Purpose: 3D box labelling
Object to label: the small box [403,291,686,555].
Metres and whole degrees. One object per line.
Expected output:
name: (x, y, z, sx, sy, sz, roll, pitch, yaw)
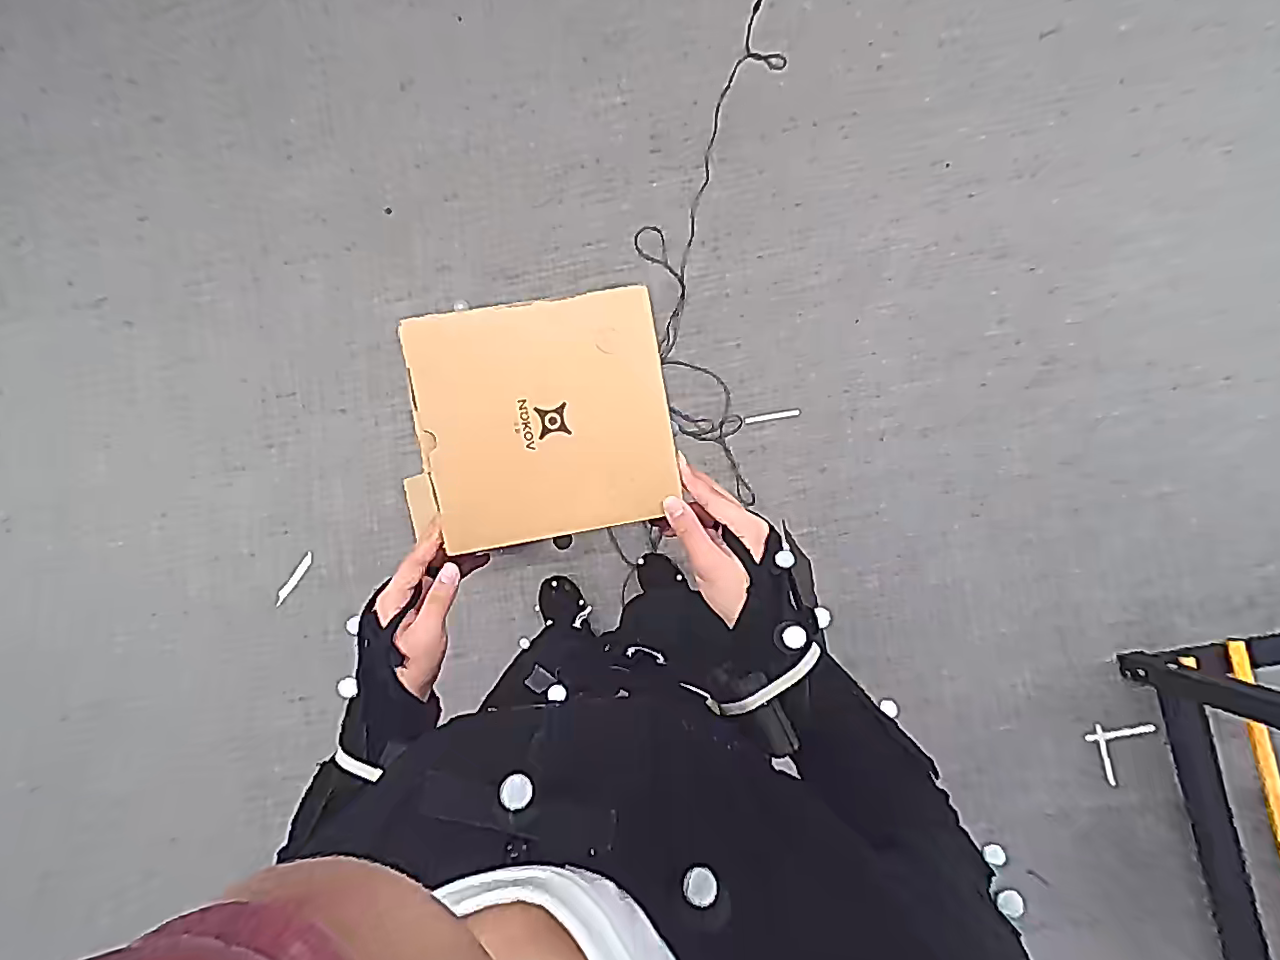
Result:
small box: (-0.070, -0.048, 0.459, 0.179, 0.176, 0.168, -10, 96, -3)
